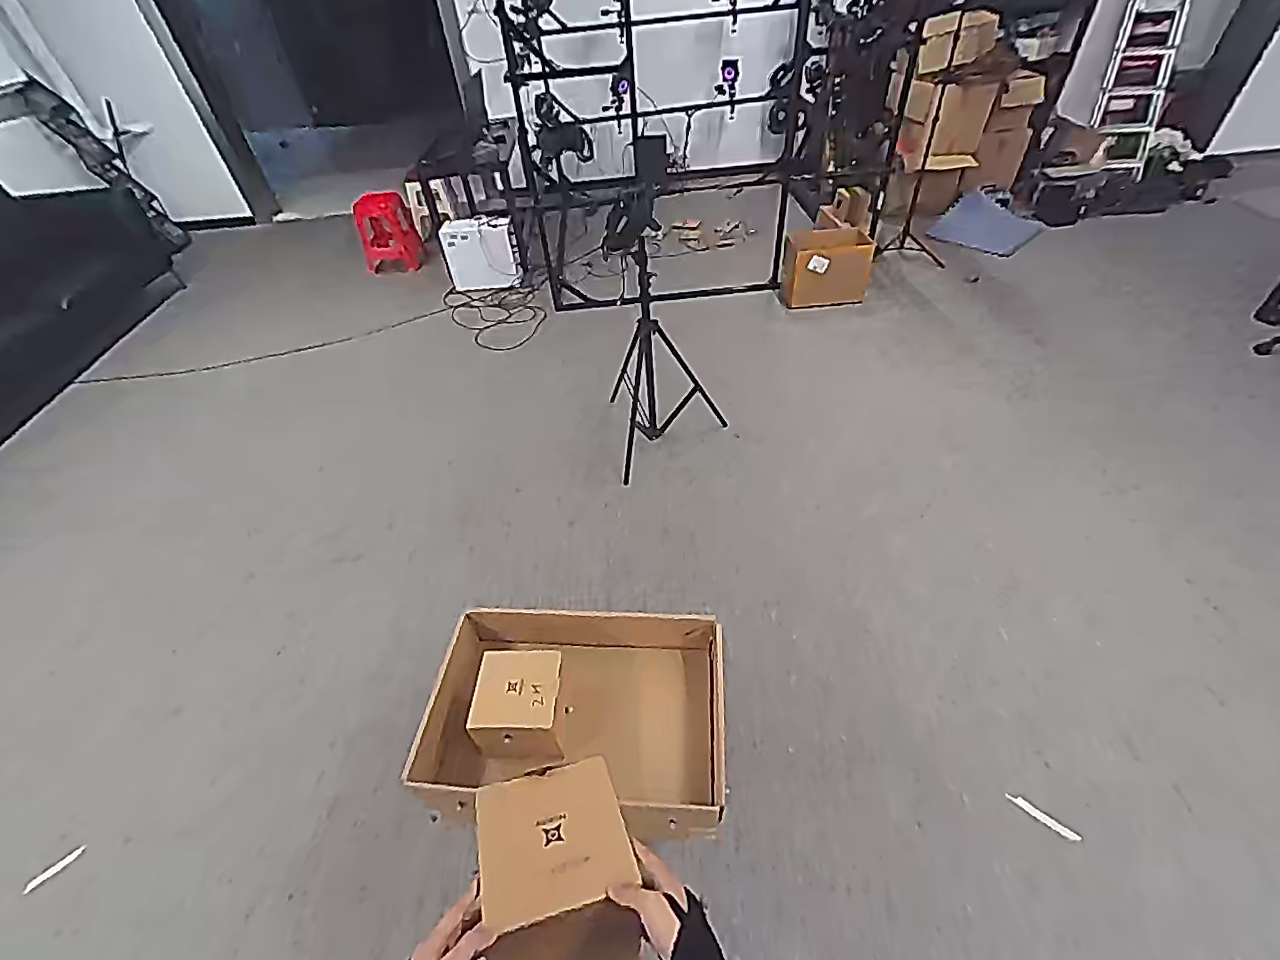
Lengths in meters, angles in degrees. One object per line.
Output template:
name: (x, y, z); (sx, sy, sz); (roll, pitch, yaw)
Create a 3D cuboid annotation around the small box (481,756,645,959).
small box: (-0.099, 0.478, 0.648); (0.168, 0.176, 0.179); (-6, 21, -17)

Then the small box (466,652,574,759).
small box: (-0.249, 0.489, 1.168); (0.179, 0.176, 0.168); (-1, 44, 3)
